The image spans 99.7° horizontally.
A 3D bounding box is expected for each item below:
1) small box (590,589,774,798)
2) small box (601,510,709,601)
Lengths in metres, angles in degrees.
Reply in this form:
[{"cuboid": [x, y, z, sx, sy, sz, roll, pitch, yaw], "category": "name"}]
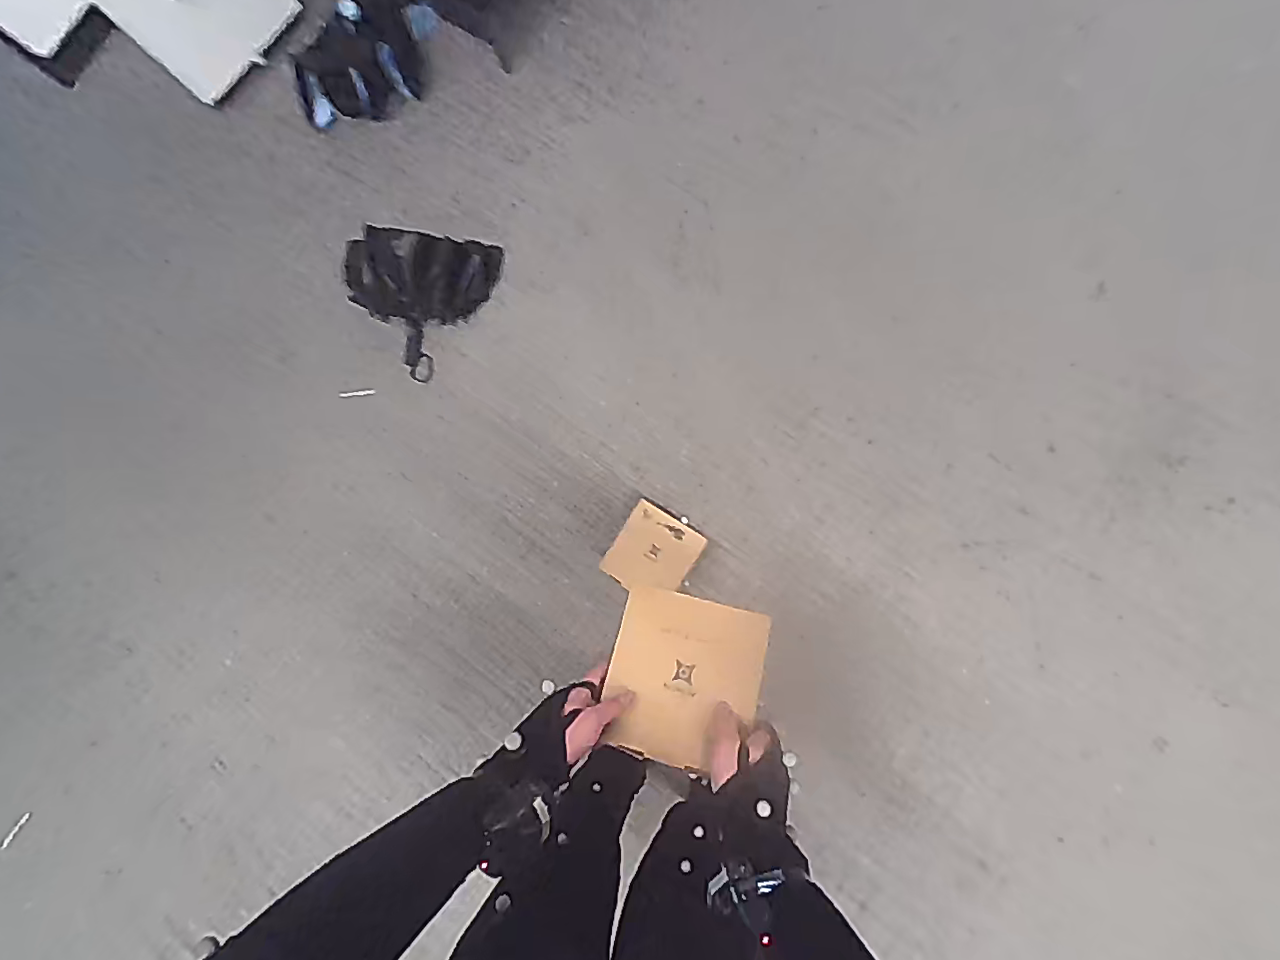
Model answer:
[{"cuboid": [0.053, 0.248, 0.643, 0.168, 0.176, 0.179, 12, 68, 9], "category": "small box"}, {"cuboid": [0.043, 0.188, 1.179, 0.168, 0.176, 0.179, 32, 86, 12], "category": "small box"}]
